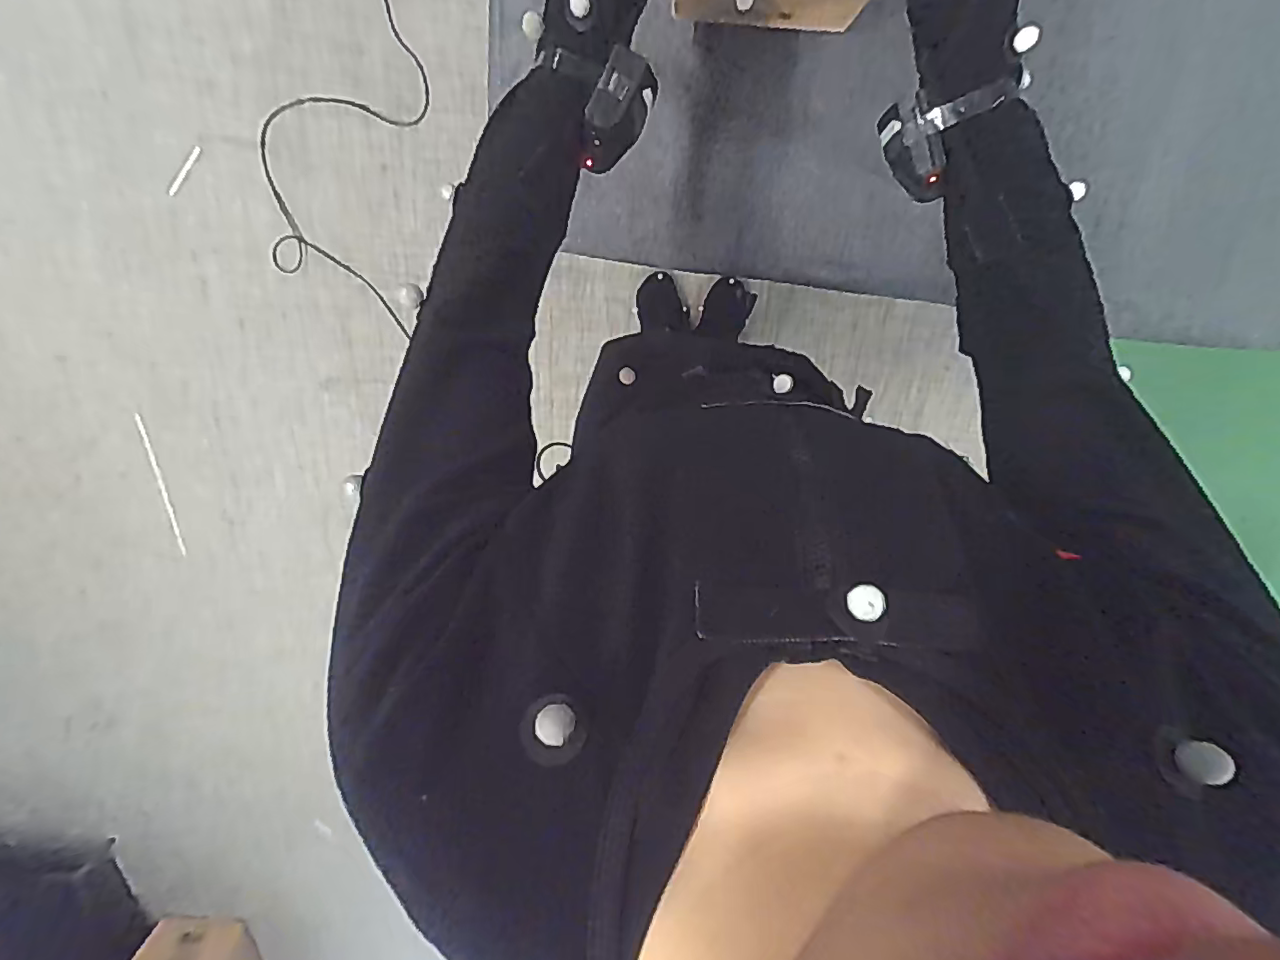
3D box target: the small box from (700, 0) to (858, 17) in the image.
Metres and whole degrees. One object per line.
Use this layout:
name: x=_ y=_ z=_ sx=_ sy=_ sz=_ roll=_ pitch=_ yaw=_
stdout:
small box: x=0.117 y=-0.480 z=0.399 sx=0.168 sy=0.176 sz=0.179 roll=5 pitch=115 yaw=2
